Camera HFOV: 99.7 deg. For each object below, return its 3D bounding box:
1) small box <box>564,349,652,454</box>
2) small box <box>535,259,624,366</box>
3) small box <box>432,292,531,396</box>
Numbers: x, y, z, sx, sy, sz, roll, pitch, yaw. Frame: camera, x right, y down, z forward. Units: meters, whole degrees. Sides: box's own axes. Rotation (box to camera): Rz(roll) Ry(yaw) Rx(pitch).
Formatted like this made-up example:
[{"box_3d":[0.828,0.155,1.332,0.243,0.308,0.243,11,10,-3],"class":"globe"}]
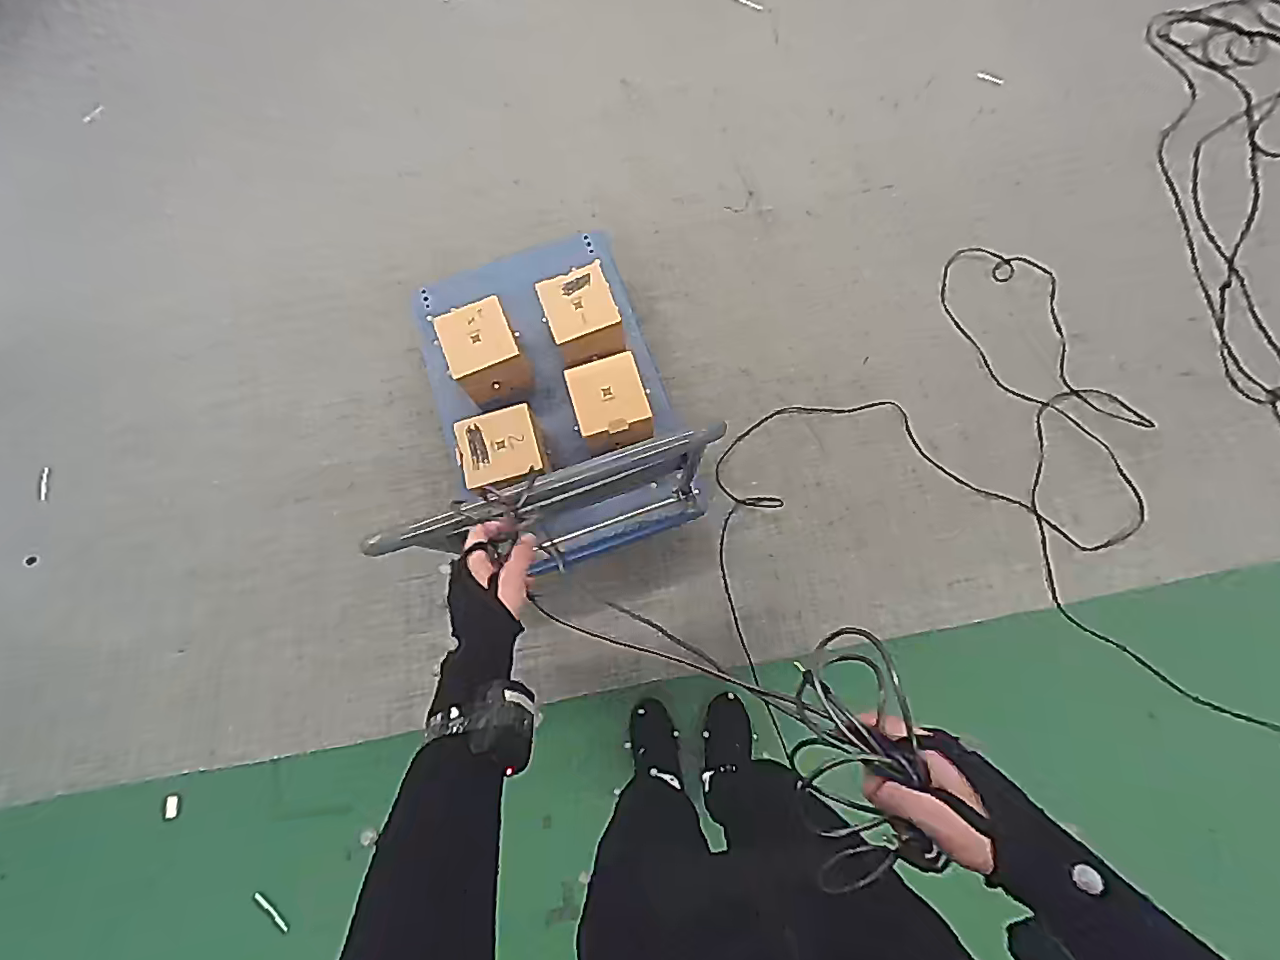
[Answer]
[{"box_3d":[-0.073,-0.183,1.302,0.168,0.176,0.179,-17,76,-1],"class":"small box"},{"box_3d":[-0.146,-0.411,1.359,0.168,0.176,0.179,-21,77,-1],"class":"small box"},{"box_3d":[-0.389,-0.327,1.353,0.168,0.176,0.179,-22,76,-3],"class":"small box"}]
